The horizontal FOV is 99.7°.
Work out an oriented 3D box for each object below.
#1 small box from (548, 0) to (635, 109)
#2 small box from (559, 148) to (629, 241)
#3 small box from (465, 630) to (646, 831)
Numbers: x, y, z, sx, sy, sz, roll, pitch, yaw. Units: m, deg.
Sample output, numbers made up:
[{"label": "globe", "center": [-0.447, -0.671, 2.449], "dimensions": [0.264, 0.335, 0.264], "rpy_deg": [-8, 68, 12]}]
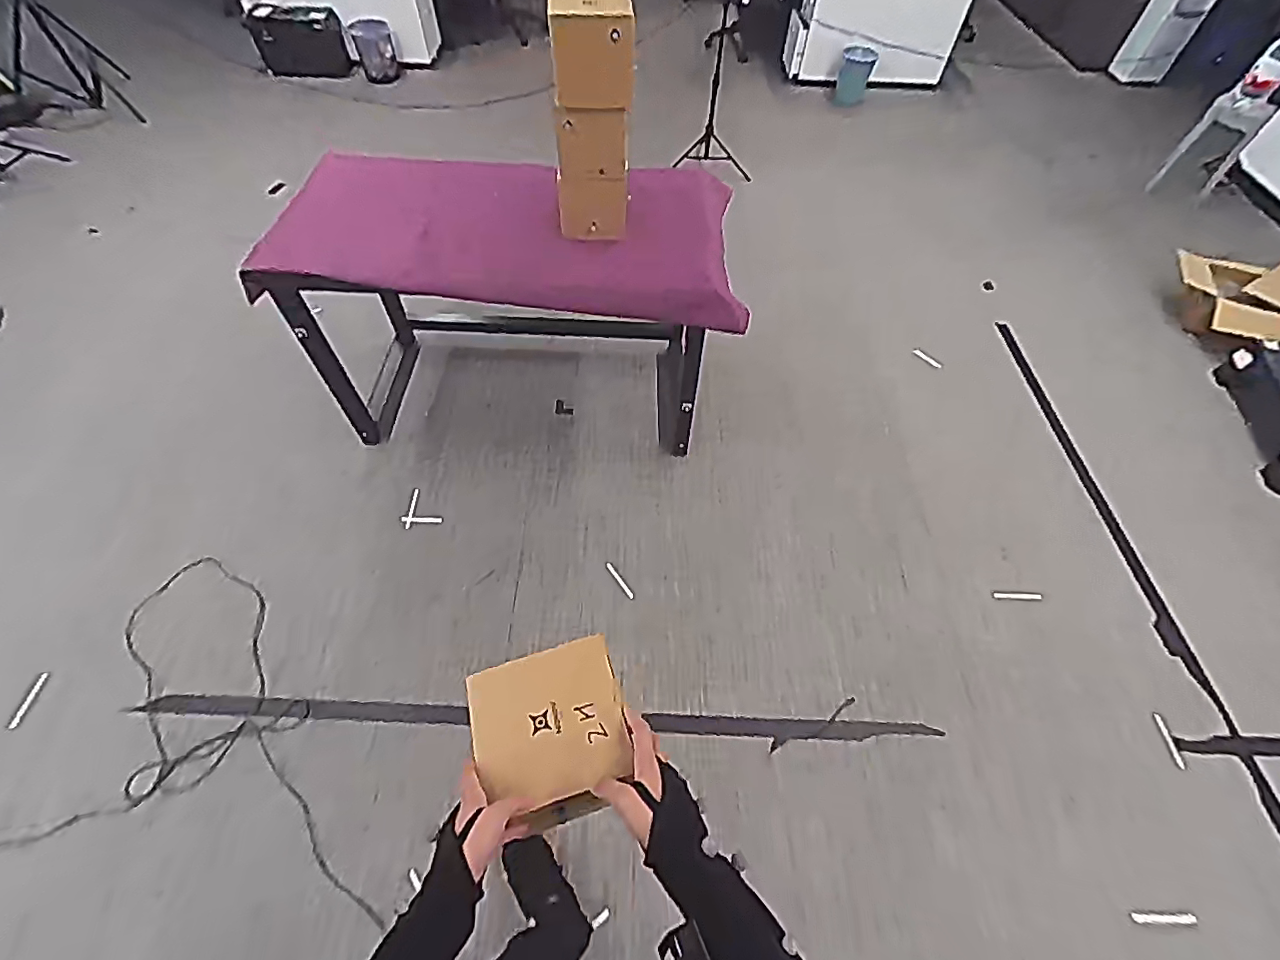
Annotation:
[{"label": "small box", "center": [-0.102, -0.940, 1.185], "dimensions": [0.179, 0.176, 0.168], "rpy_deg": [-3, 55, -4]}, {"label": "small box", "center": [-0.122, -0.768, 1.465], "dimensions": [0.179, 0.176, 0.168], "rpy_deg": [0, 55, -3]}, {"label": "small box", "center": [-0.100, 0.317, 0.675], "dimensions": [0.179, 0.176, 0.168], "rpy_deg": [-16, 54, -7]}]
